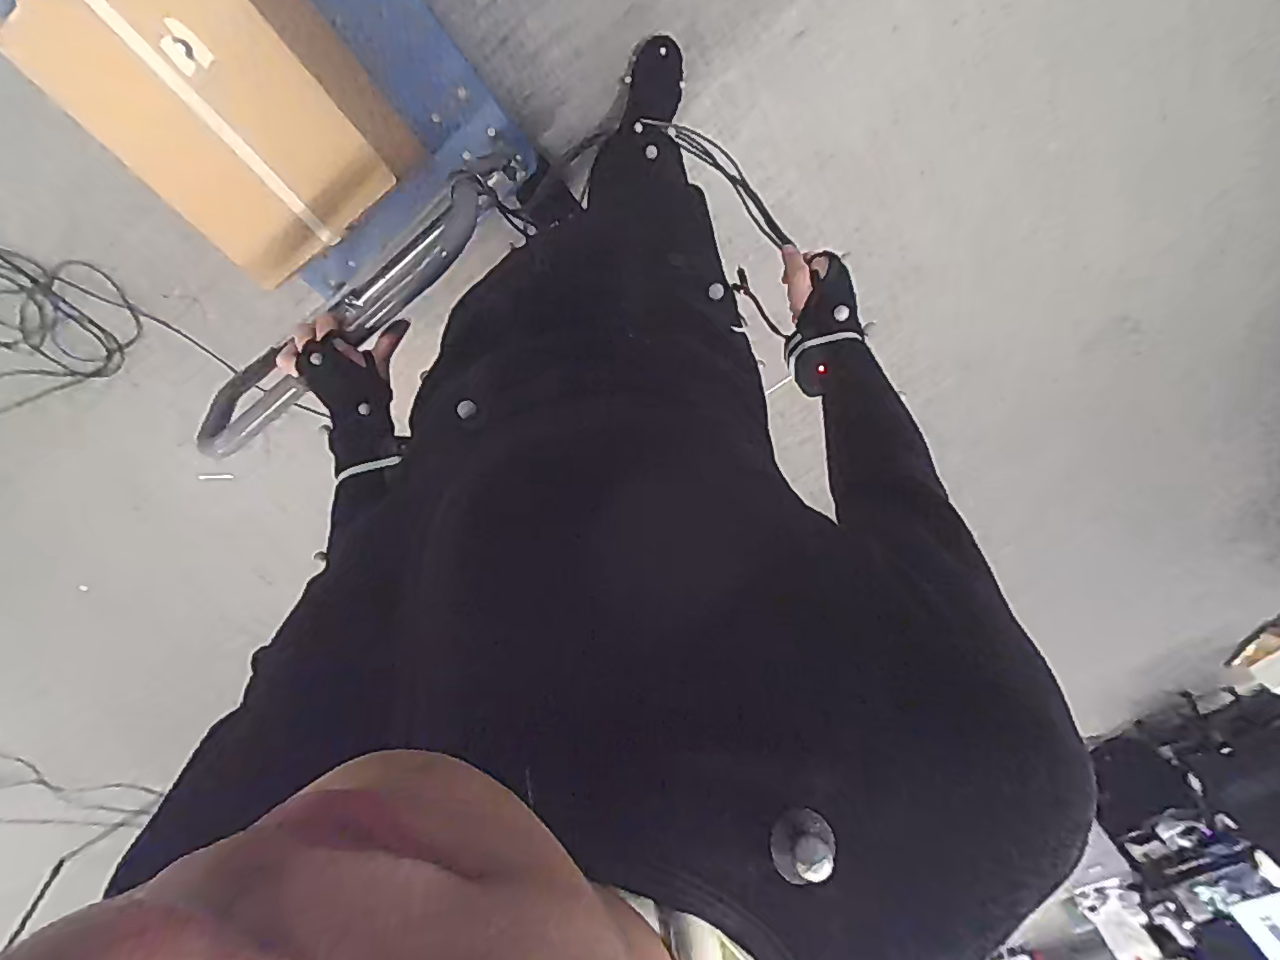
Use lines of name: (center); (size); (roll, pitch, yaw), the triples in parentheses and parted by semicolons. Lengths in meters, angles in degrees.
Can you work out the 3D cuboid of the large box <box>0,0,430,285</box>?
large box: (-0.630, -0.615, 0.891); (0.320, 0.320, 0.408); (-30, 125, 14)
